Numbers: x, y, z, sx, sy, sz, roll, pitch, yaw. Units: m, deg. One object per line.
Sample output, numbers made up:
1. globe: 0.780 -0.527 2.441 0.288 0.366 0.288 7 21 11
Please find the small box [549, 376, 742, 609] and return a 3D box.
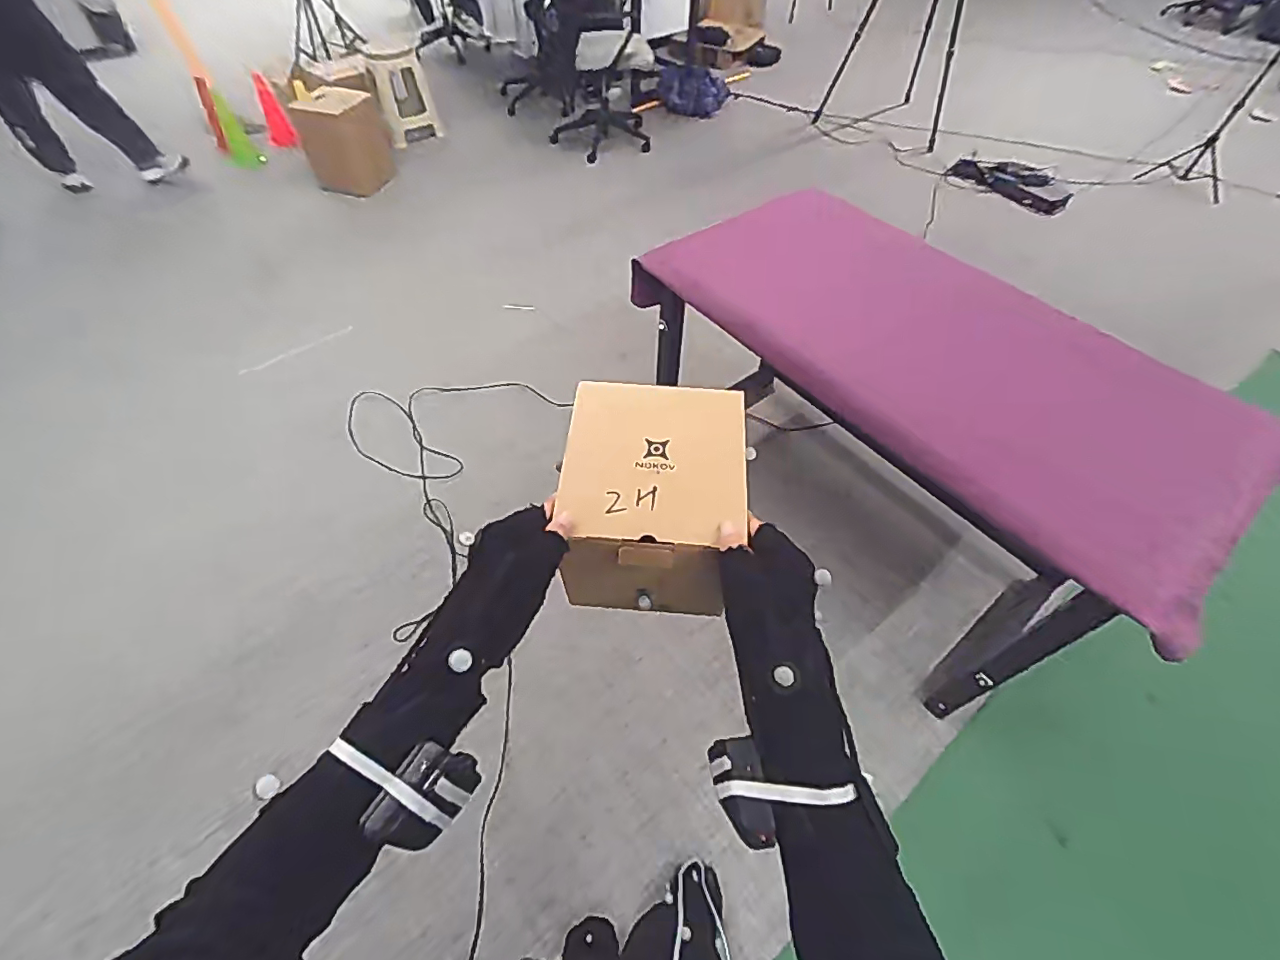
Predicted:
1. small box: 0.011 0.017 0.563 0.168 0.176 0.179 4 58 3
